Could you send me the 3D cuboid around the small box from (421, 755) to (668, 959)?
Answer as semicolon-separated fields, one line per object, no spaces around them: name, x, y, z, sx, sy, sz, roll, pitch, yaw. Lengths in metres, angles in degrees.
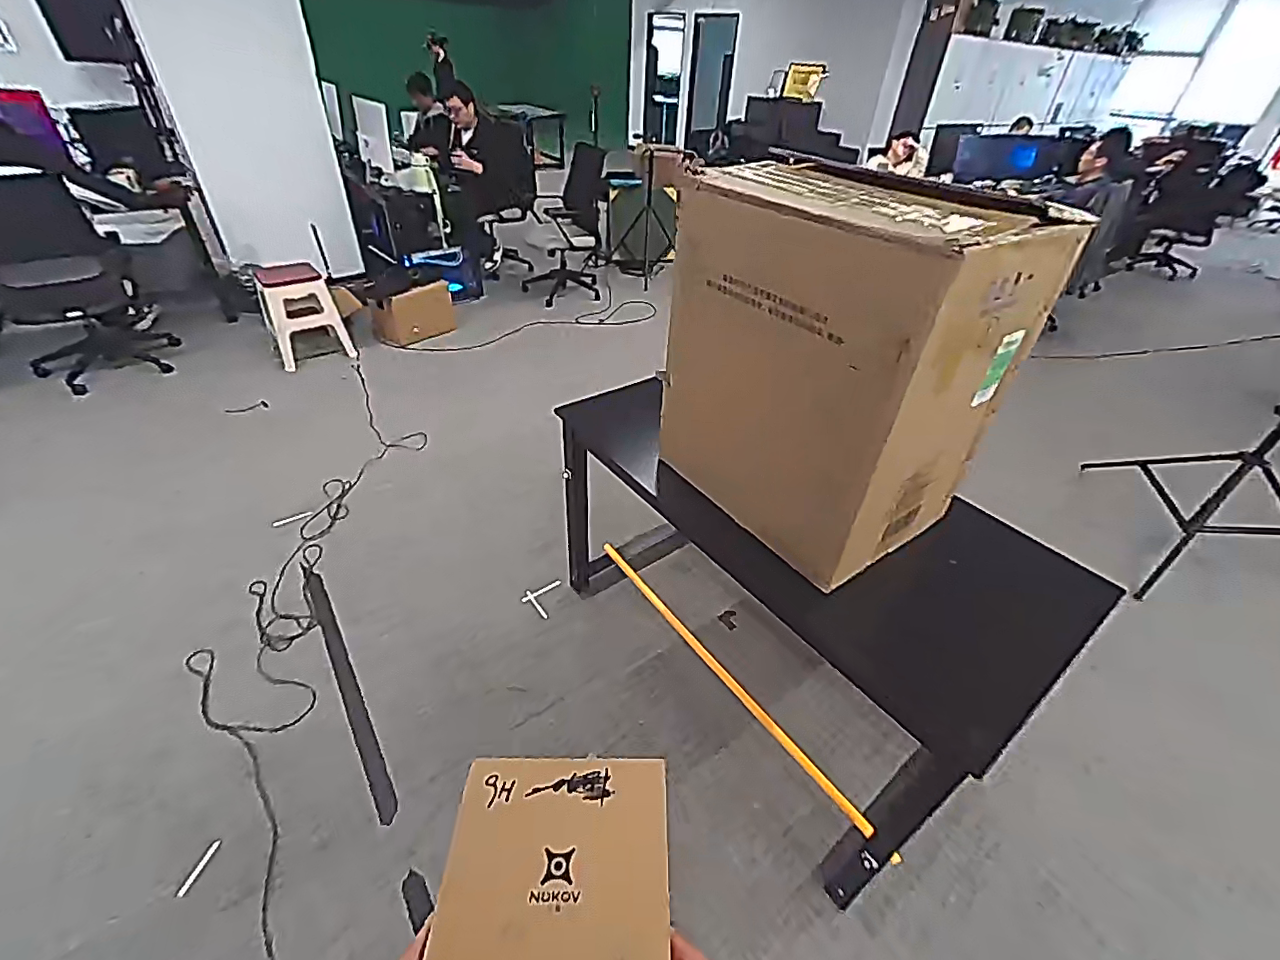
small box;-0.061;0.349;0.439;0.168;0.176;0.179;0;39;0
